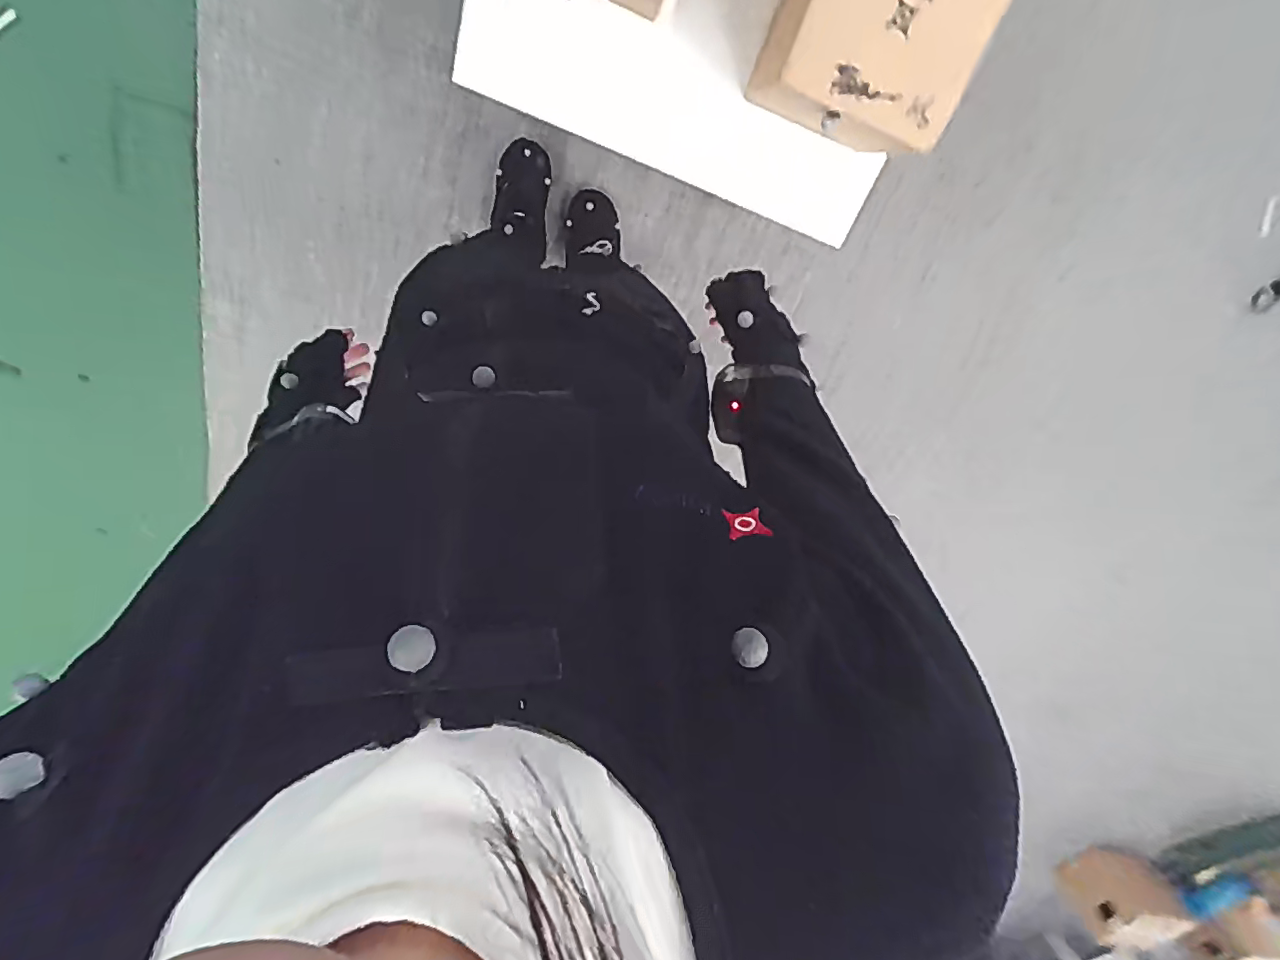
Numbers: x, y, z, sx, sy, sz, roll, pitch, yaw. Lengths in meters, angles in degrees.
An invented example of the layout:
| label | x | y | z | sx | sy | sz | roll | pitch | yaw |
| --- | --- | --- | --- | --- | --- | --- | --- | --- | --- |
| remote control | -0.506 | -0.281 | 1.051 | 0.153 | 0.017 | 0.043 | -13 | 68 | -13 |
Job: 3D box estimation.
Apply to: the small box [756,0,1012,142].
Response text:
| label | x | y | z | sx | sy | sz | roll | pitch | yaw |
| --- | --- | --- | --- | --- | --- | --- | --- | --- | --- |
| small box | 0.230 | -0.454 | 0.523 | 0.168 | 0.176 | 0.179 | 16 | 119 | -11 |
